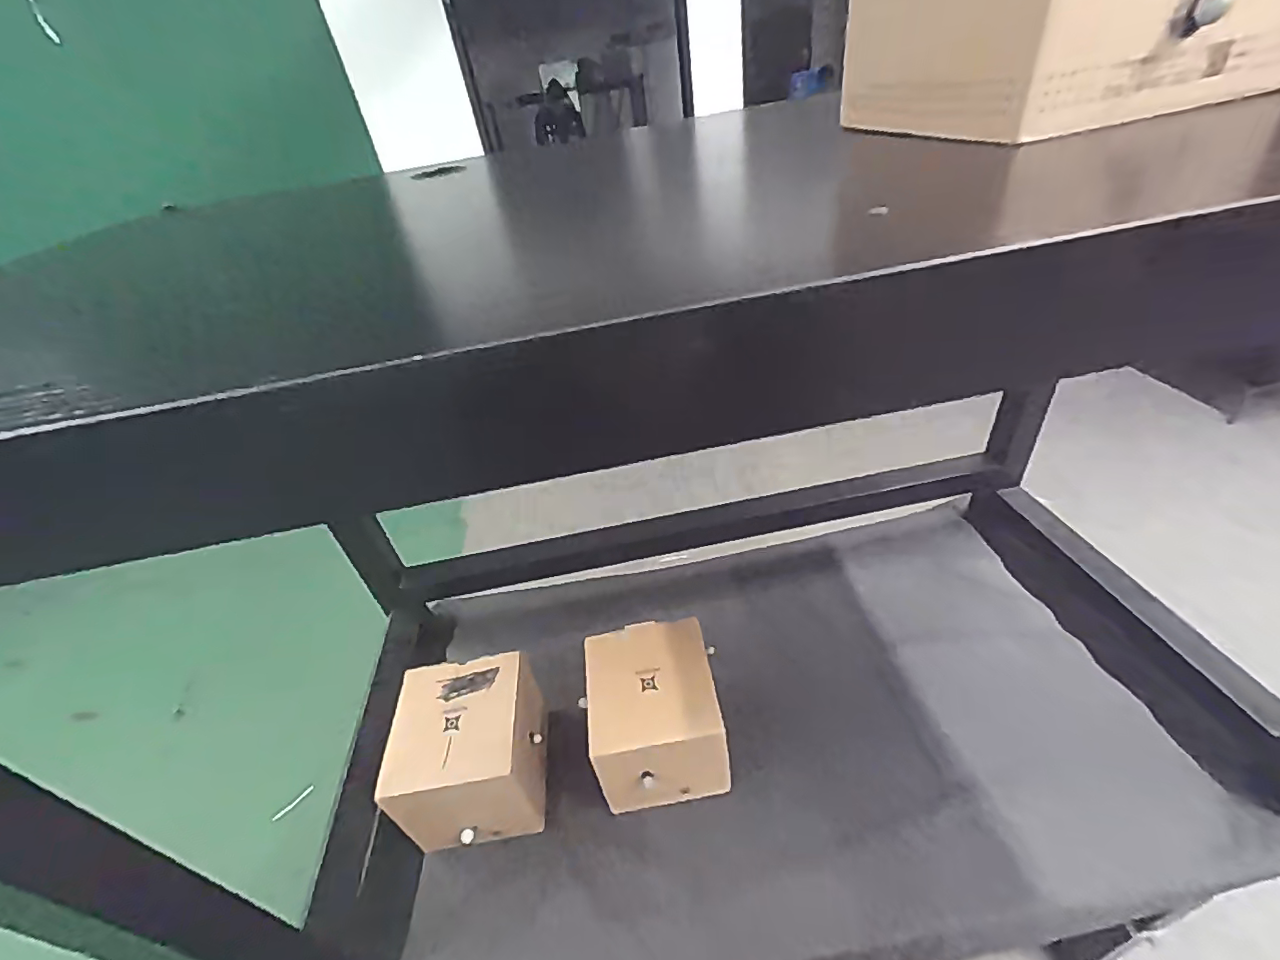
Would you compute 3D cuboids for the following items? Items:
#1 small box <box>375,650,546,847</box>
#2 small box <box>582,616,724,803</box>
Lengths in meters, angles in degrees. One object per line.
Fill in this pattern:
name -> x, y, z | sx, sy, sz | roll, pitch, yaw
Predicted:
small box -> -0.231, 0.369, 0.750 | 0.168, 0.176, 0.179 | -10, 37, -1
small box -> 0.018, 0.324, 0.756 | 0.168, 0.176, 0.179 | -10, 37, -1
